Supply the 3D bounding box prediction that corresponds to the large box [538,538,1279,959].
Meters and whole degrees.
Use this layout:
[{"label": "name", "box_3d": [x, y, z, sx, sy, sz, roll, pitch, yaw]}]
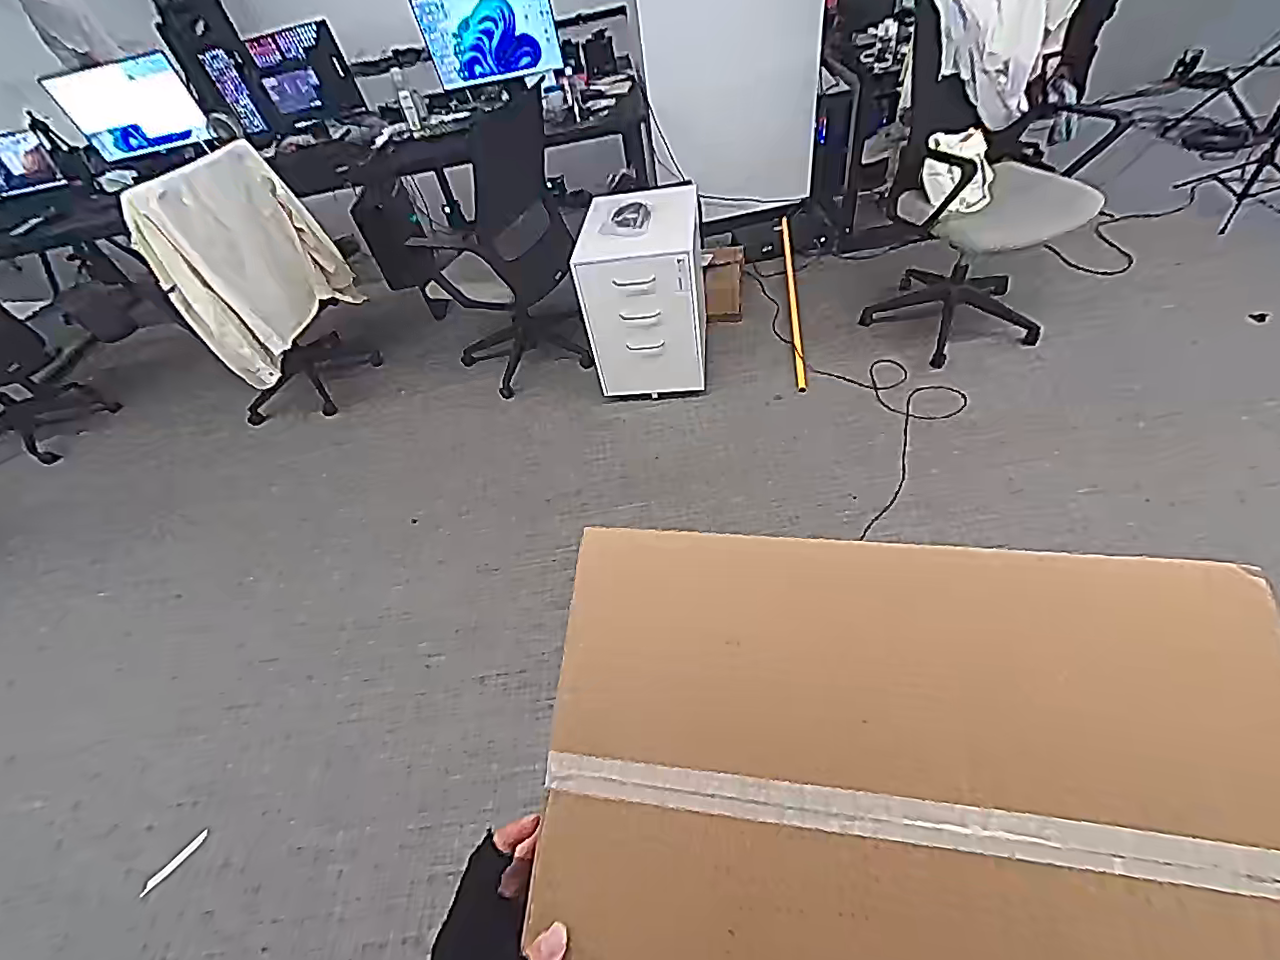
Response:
[{"label": "large box", "box_3d": [0.170, 0.247, 0.442, 0.408, 0.320, 0.320, 2, 69, 12]}]
